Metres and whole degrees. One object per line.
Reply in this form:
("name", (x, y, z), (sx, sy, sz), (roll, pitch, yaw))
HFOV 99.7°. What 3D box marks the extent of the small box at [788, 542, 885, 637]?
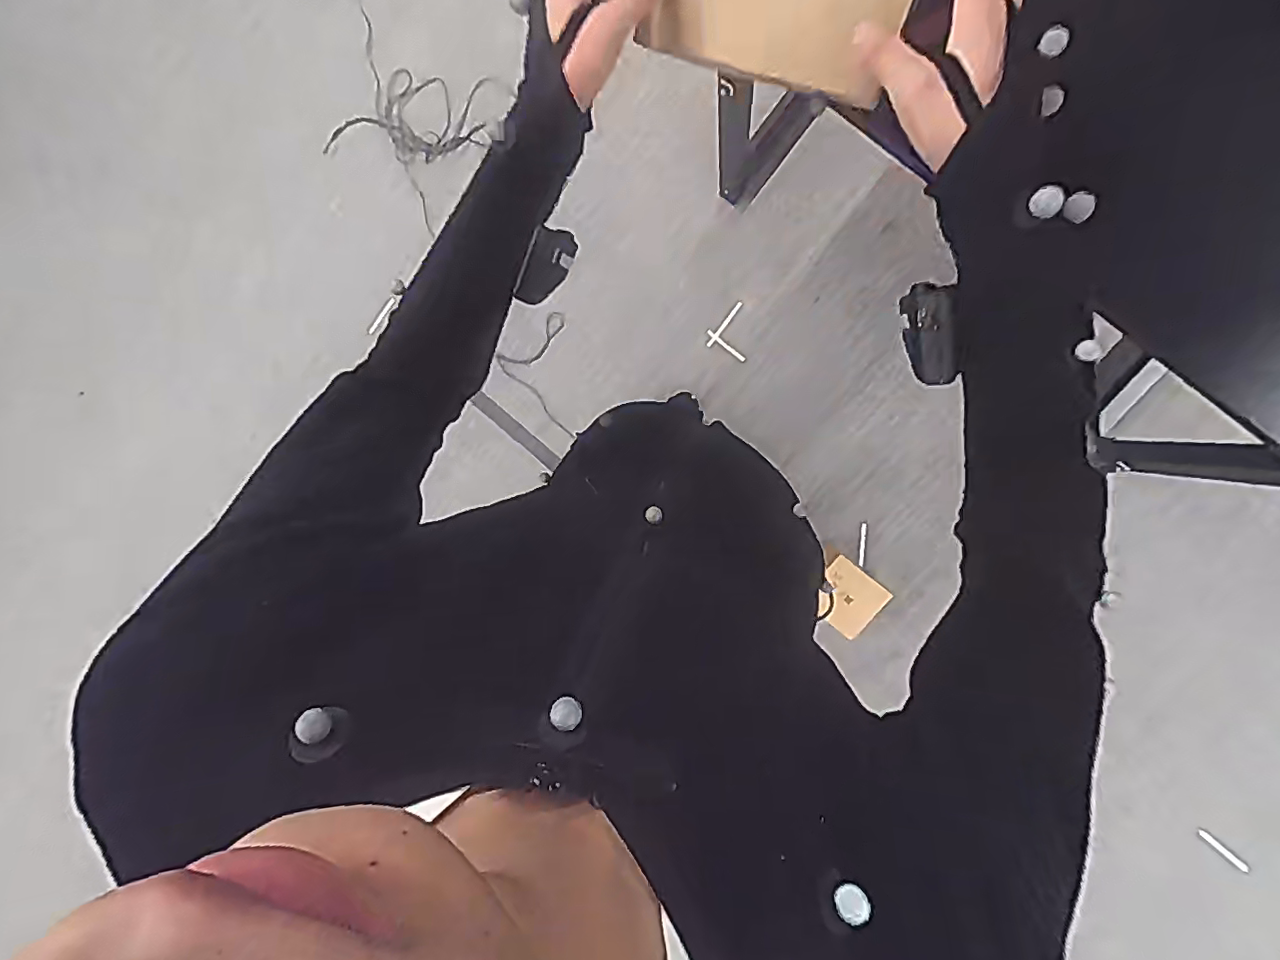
("small box", (0.538, 0.296, 1.507), (0.179, 0.176, 0.168), (39, 100, 3))
